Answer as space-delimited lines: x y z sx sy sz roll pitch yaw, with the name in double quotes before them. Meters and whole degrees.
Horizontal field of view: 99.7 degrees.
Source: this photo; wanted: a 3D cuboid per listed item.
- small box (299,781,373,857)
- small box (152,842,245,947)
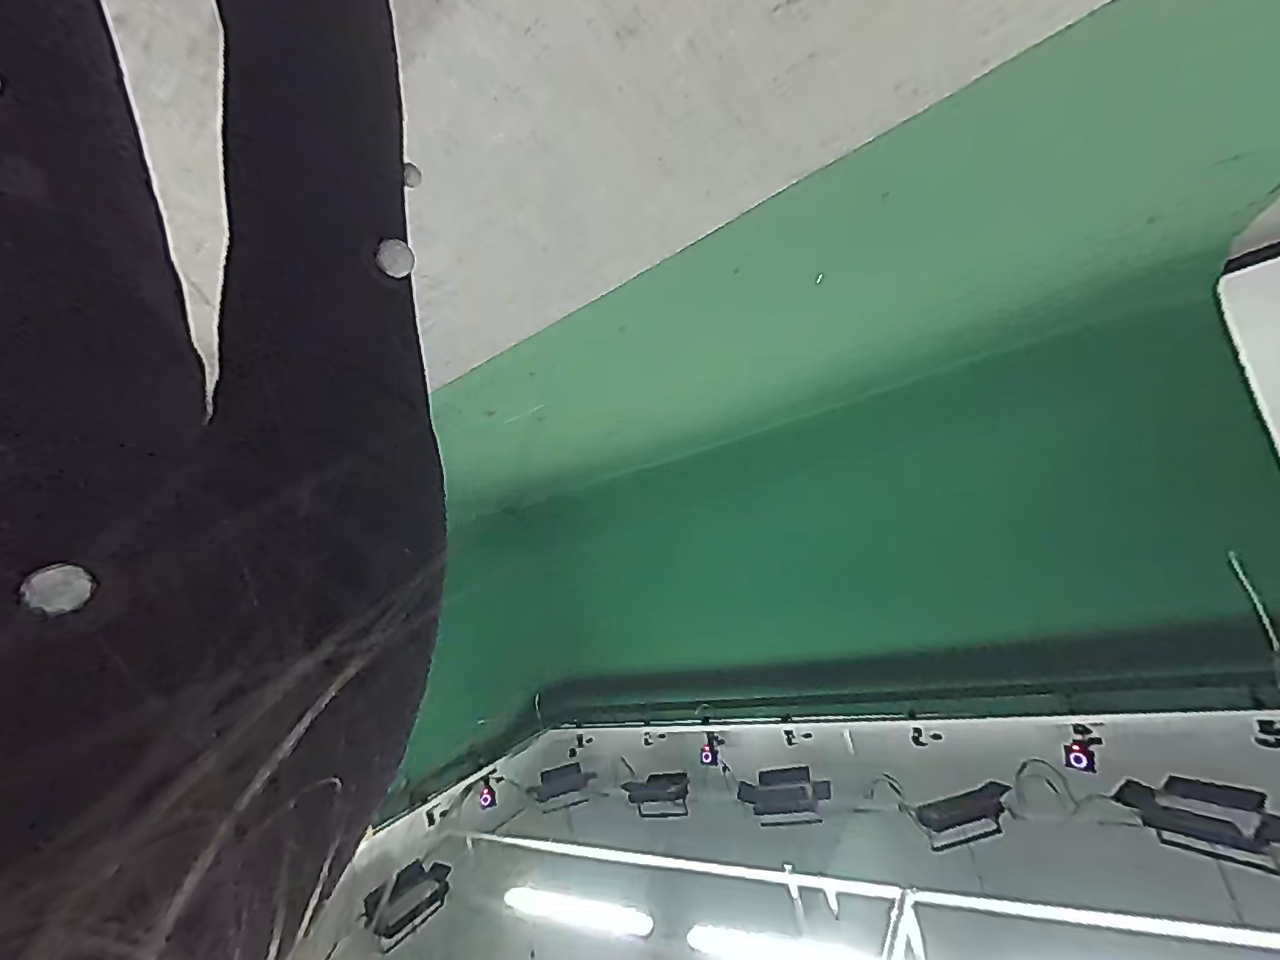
"small box" -1.080 1.188 1.910 0.179 0.176 0.168 -18 170 33
"small box" -1.285 1.189 1.568 0.179 0.176 0.168 -17 172 35
